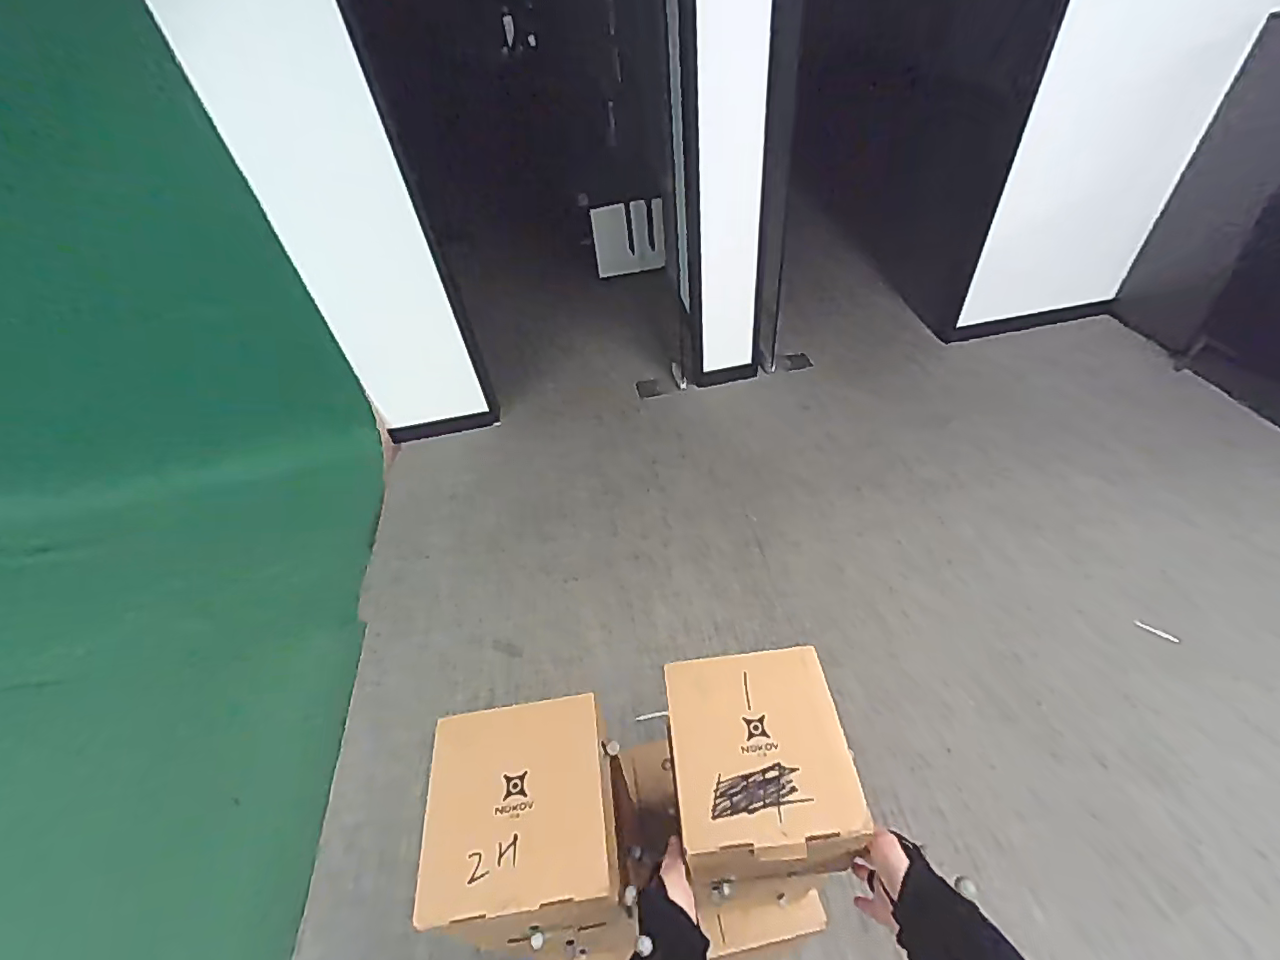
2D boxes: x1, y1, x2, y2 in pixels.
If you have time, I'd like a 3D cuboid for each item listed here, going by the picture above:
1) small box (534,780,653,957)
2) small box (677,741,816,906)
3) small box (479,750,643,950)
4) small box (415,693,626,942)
[{"bbox_3d":[-0.077,0.576,0.802,0.168,0.176,0.179,-10,47,-3],"label":"small box"},{"bbox_3d":[0.154,0.523,0.818,0.168,0.176,0.179,-9,45,1],"label":"small box"},{"bbox_3d":[-0.091,0.467,0.681,0.168,0.176,0.179,-9,47,-2],"label":"small box"},{"bbox_3d":[-0.110,0.352,0.564,0.168,0.176,0.179,-9,46,-1],"label":"small box"}]
